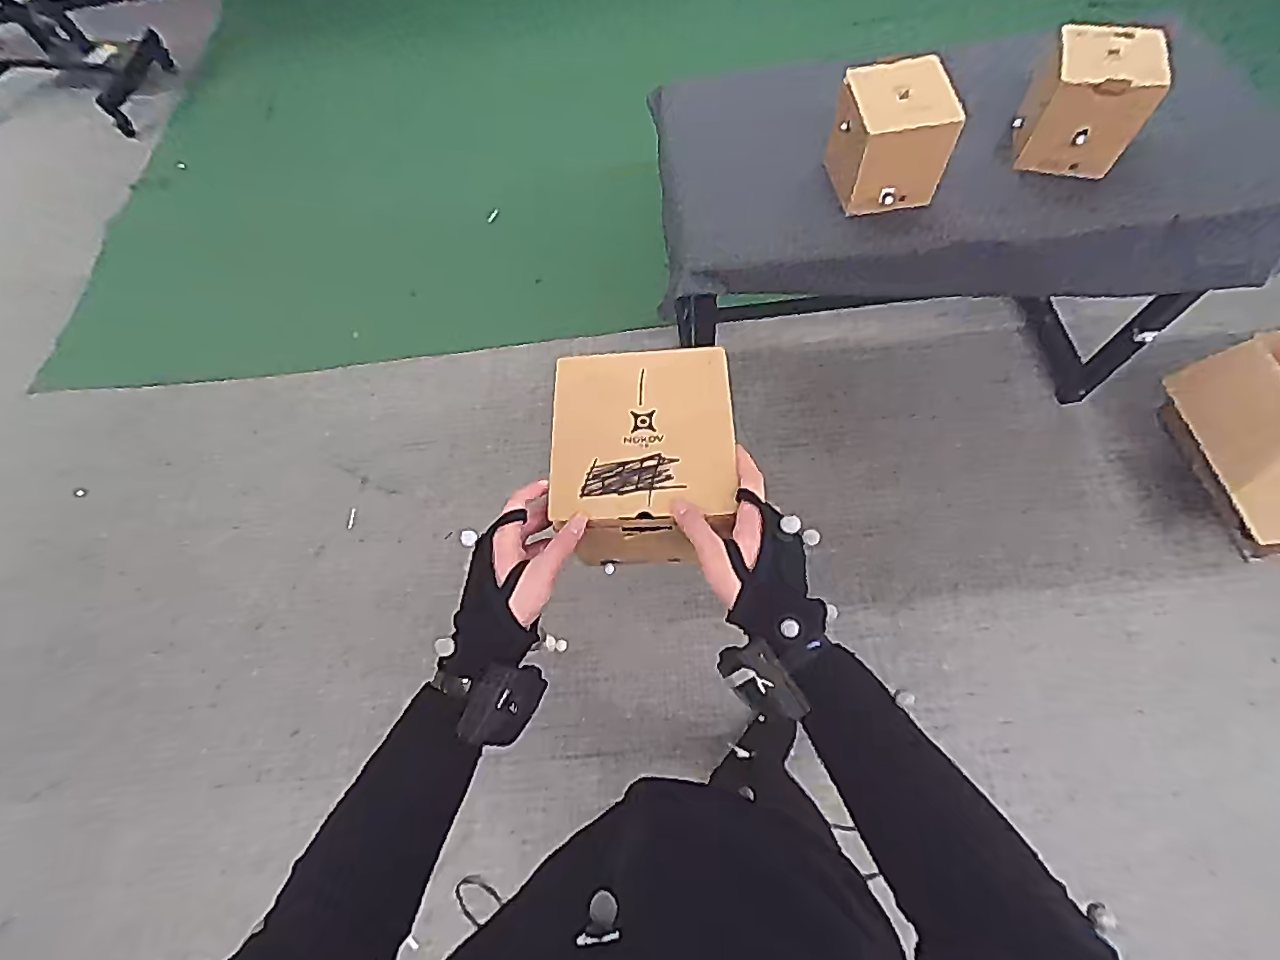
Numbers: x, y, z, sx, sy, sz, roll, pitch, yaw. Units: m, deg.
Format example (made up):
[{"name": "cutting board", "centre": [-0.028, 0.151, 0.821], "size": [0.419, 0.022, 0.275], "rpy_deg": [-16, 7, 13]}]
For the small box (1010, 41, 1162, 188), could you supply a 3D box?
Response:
[{"name": "small box", "centre": [0.842, -0.694, 1.036], "size": [0.168, 0.176, 0.179], "rpy_deg": [14, 67, 12]}]

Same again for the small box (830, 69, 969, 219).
[{"name": "small box", "centre": [0.476, -0.631, 1.025], "size": [0.168, 0.176, 0.179], "rpy_deg": [-8, 65, 2]}]

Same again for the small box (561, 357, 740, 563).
[{"name": "small box", "centre": [0.015, -0.010, 0.587], "size": [0.168, 0.176, 0.179], "rpy_deg": [-3, 68, 3]}]
